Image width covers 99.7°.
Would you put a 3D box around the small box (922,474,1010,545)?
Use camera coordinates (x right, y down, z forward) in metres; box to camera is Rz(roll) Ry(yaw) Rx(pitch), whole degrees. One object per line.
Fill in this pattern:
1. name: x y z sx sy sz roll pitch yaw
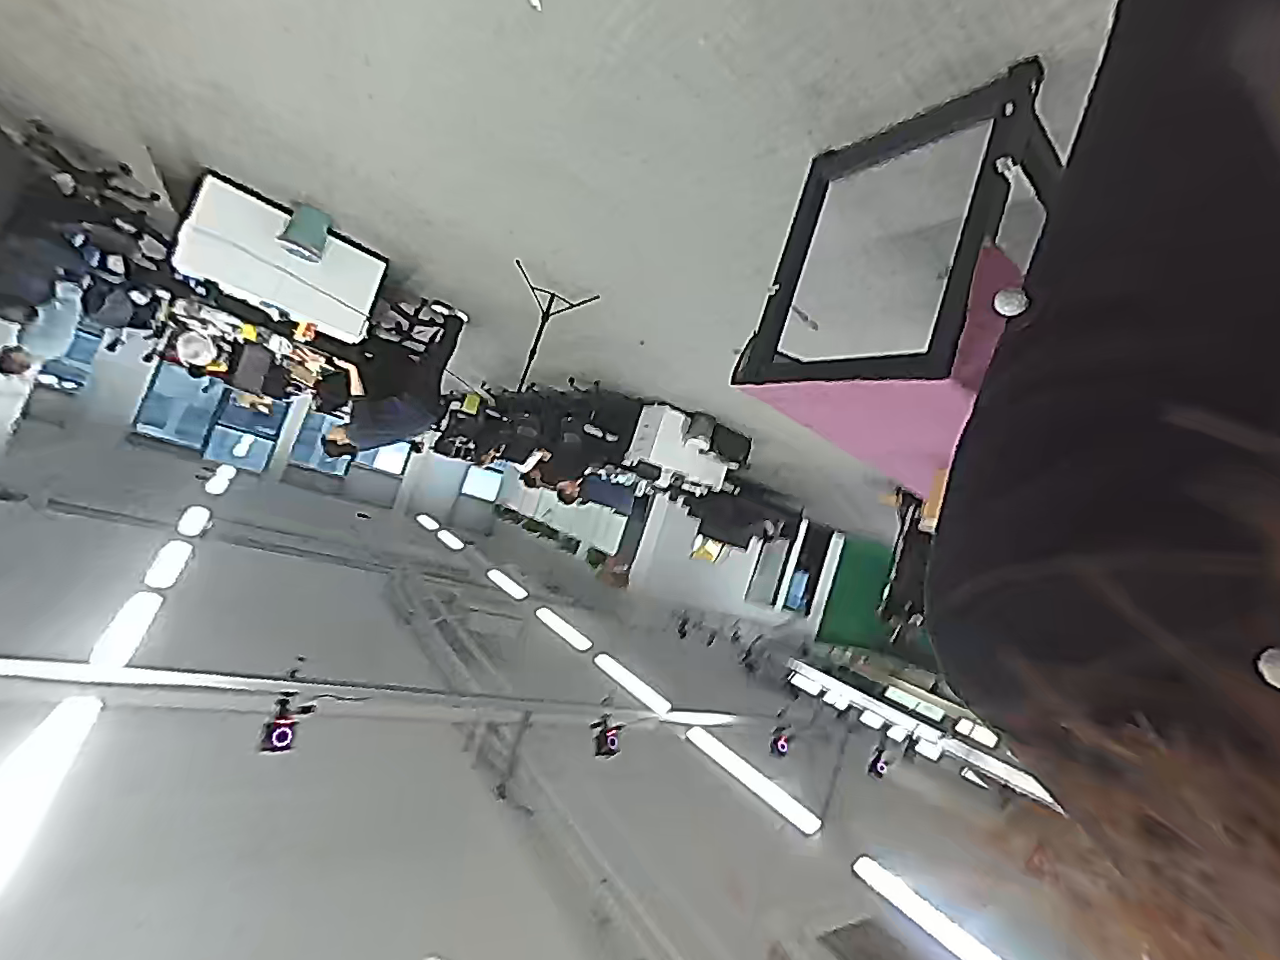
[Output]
1. small box: 1.013 0.087 1.671 0.168 0.176 0.179 22 174 -33
